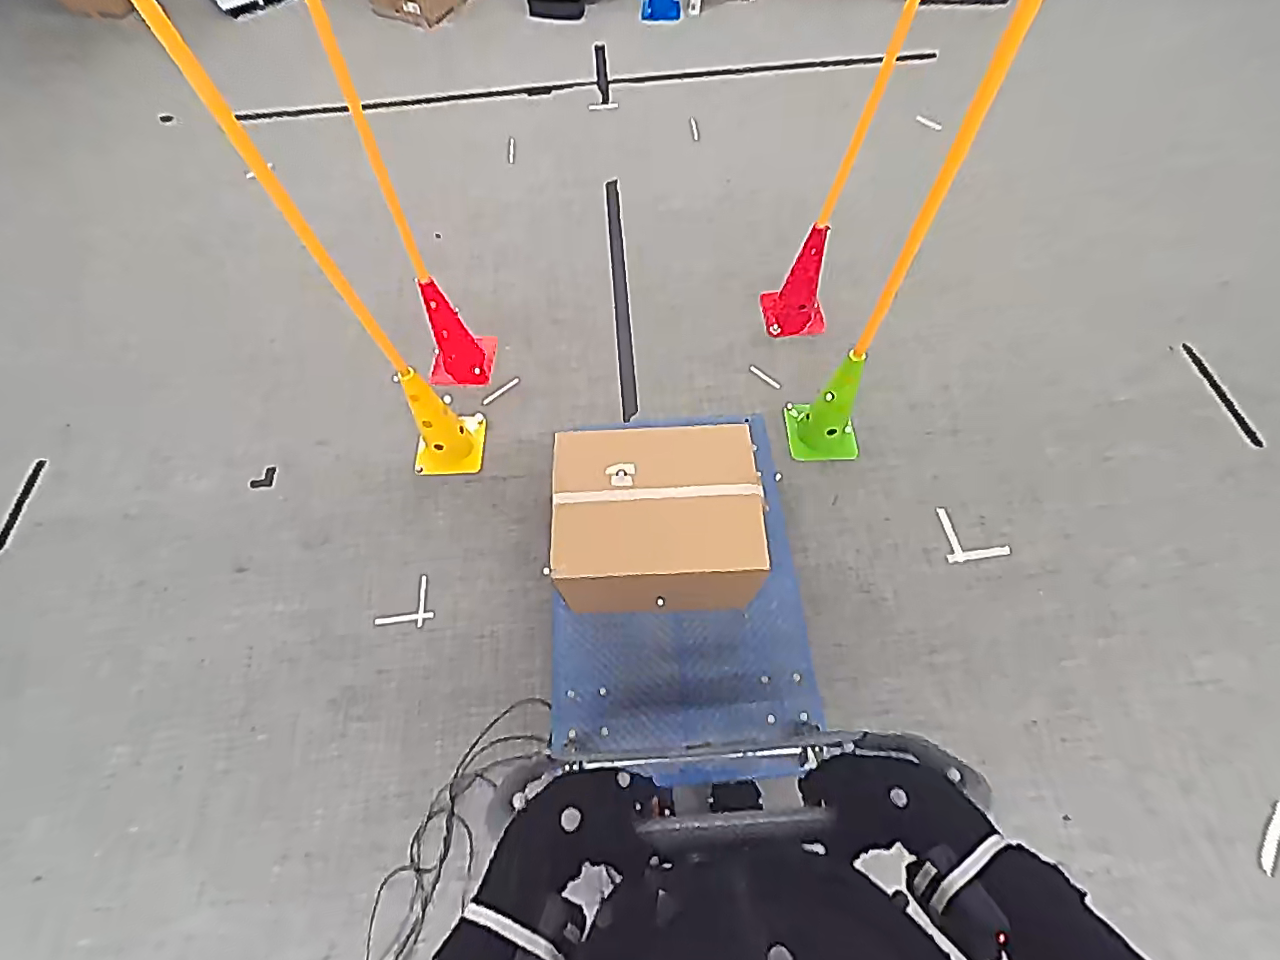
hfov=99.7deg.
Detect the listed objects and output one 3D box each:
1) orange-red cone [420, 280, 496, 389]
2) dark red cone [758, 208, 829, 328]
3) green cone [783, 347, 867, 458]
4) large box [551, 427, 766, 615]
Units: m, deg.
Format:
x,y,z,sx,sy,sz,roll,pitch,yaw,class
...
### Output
x,y,z,sx,sy,sz,roll,pitch,yaw,class
-0.598,-0.470,1.674,0.198,0.360,0.199,1,62,2,orange-red cone
0.518,-0.672,1.710,0.201,0.394,0.202,-5,63,-2,dark red cone
0.545,-0.232,1.505,0.202,0.368,0.200,-2,63,0,green cone
0.035,0.106,1.193,0.408,0.320,0.320,-3,63,1,large box
